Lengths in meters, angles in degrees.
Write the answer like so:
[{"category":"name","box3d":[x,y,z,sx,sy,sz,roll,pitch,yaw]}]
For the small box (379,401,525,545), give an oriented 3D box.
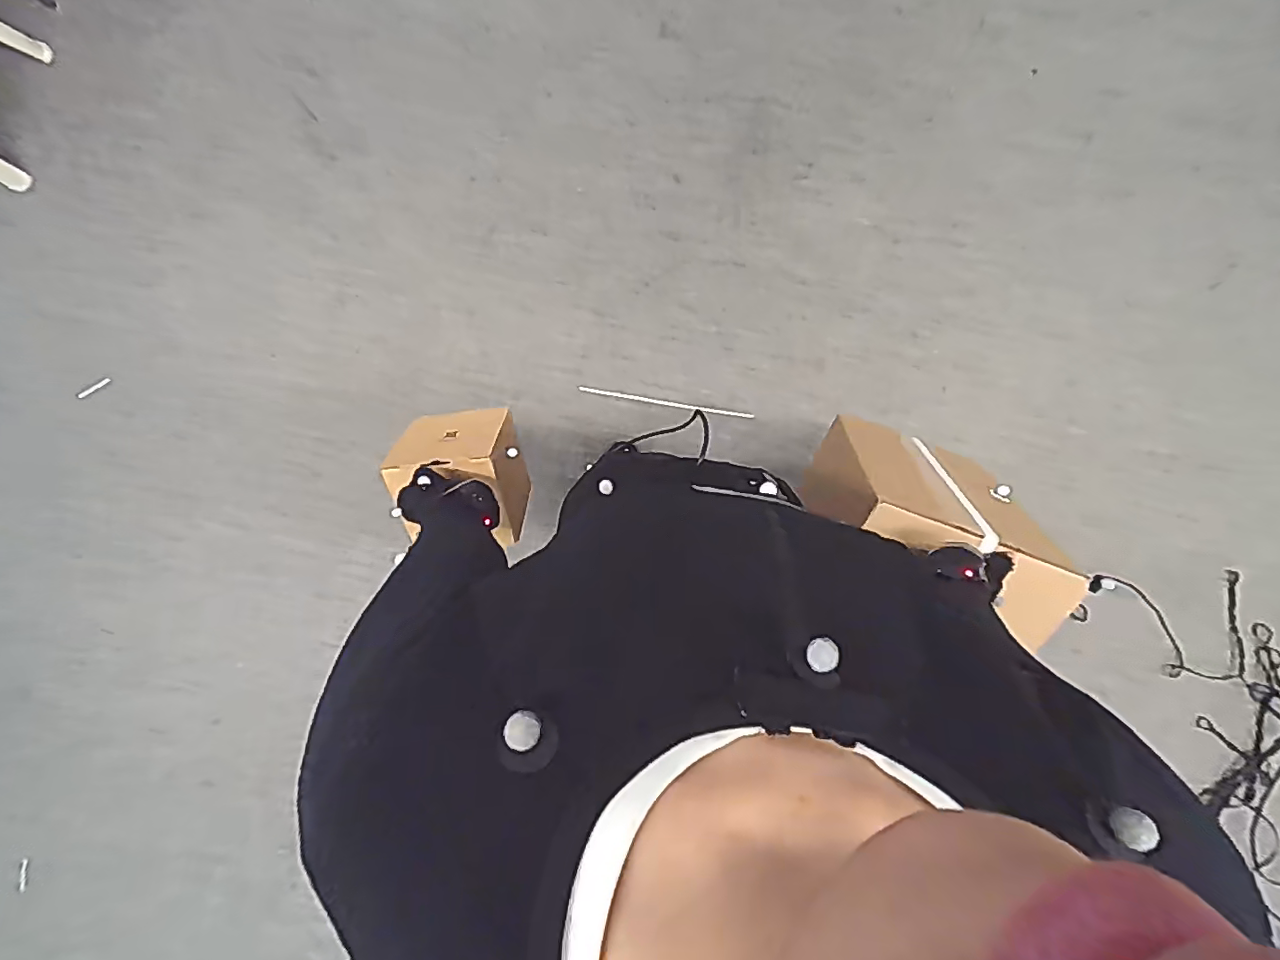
[{"category":"small box","box3d":[-0.297,-0.014,0.901,0.168,0.179,0.176,-6,124,2]}]
